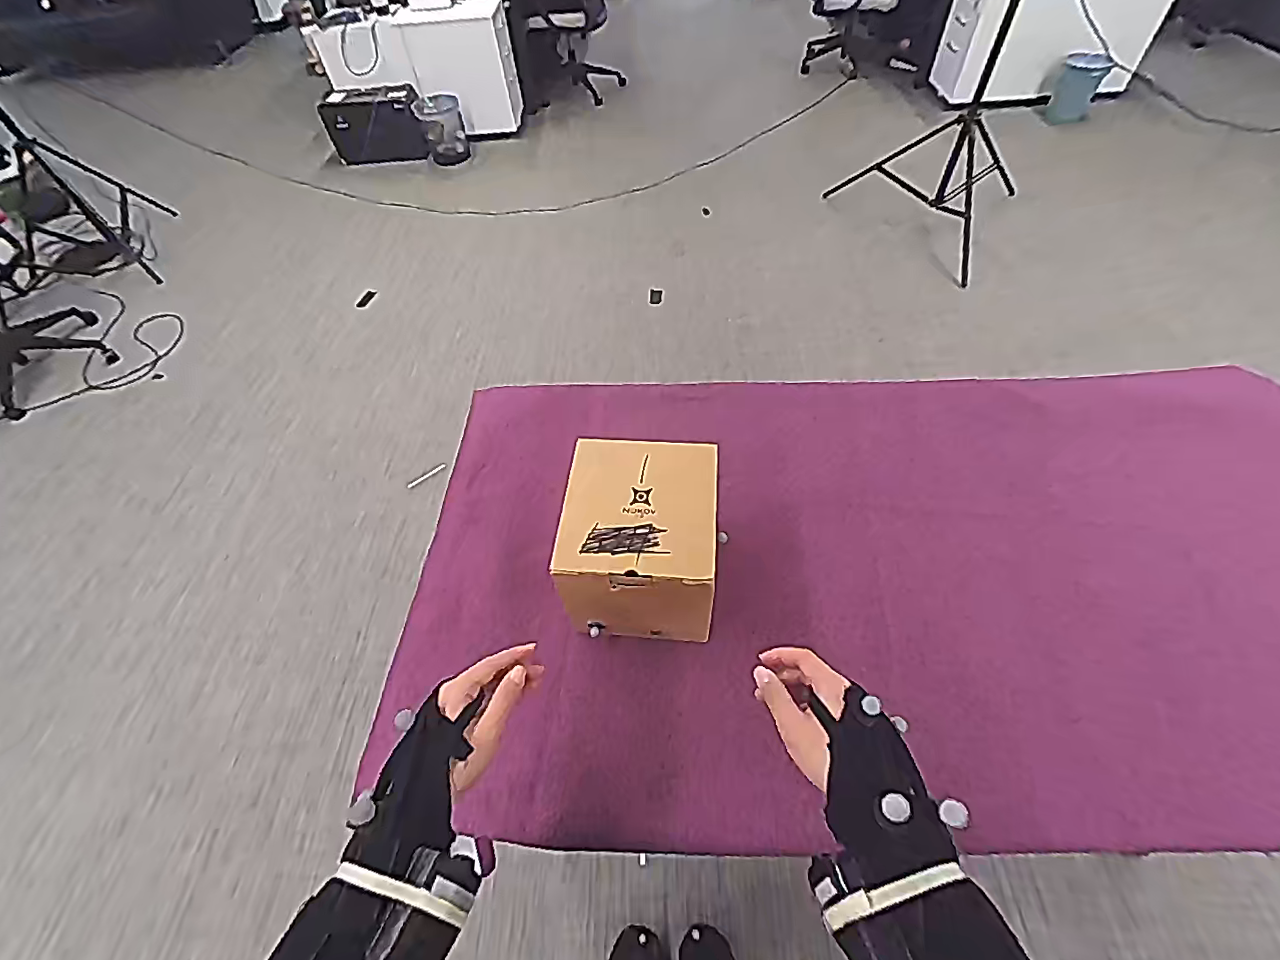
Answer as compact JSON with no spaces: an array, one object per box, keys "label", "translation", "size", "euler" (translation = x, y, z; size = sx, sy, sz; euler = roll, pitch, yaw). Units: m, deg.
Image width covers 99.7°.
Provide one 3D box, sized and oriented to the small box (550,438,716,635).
[{"label":"small box","translation":[0.003,0.071,0.646],"size":[0.168,0.176,0.179],"euler":[3,53,6]}]
